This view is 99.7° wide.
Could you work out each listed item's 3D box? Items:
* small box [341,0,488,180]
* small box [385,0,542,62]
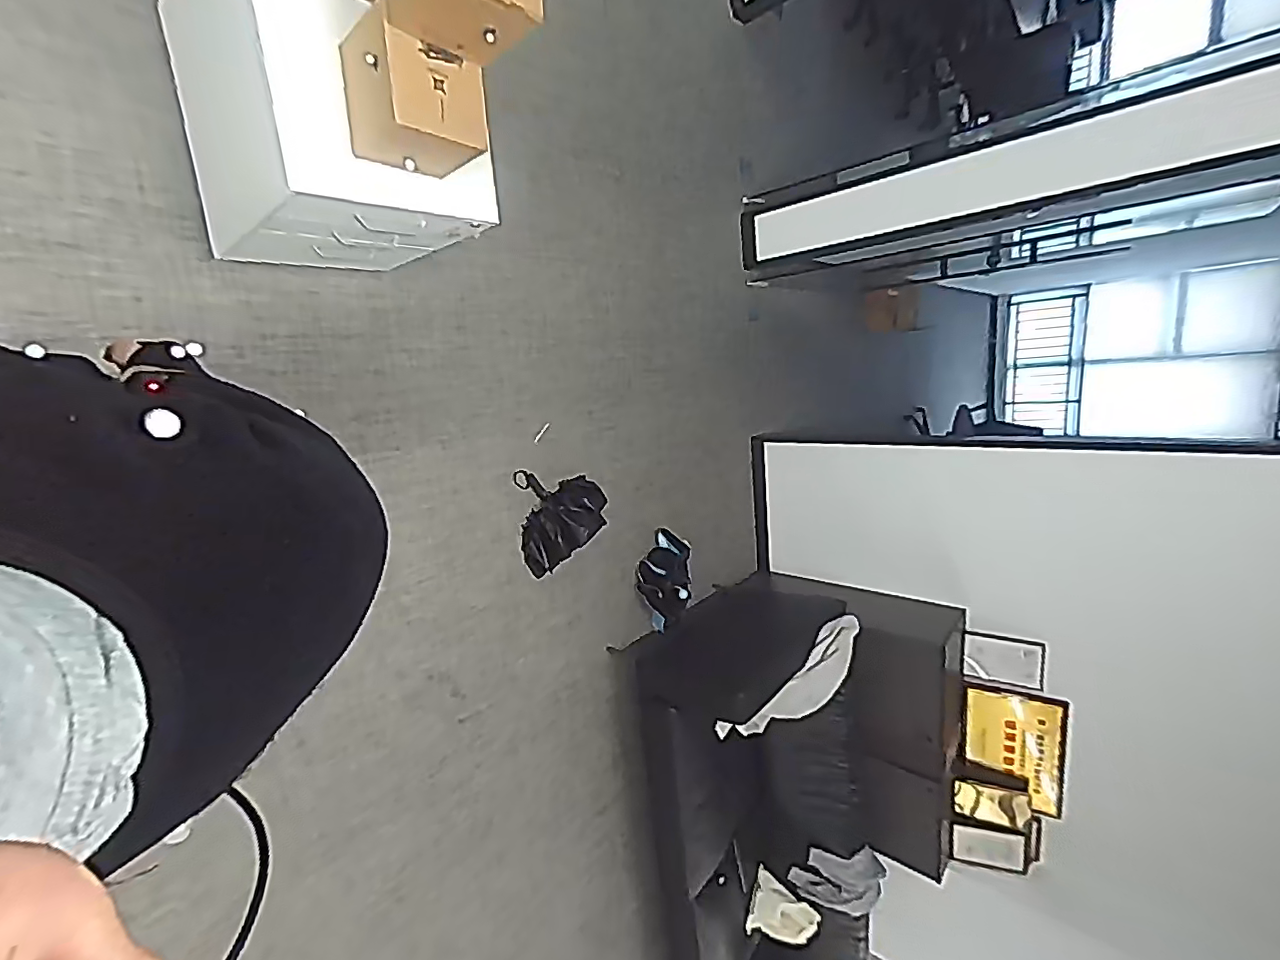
[{"bbox_3d":[-0.379,-0.638,0.909,0.168,0.176,0.179,-14,105,-46],"label":"small box"},{"bbox_3d":[-0.264,-0.758,0.782,0.168,0.176,0.179,-15,105,-47],"label":"small box"}]
